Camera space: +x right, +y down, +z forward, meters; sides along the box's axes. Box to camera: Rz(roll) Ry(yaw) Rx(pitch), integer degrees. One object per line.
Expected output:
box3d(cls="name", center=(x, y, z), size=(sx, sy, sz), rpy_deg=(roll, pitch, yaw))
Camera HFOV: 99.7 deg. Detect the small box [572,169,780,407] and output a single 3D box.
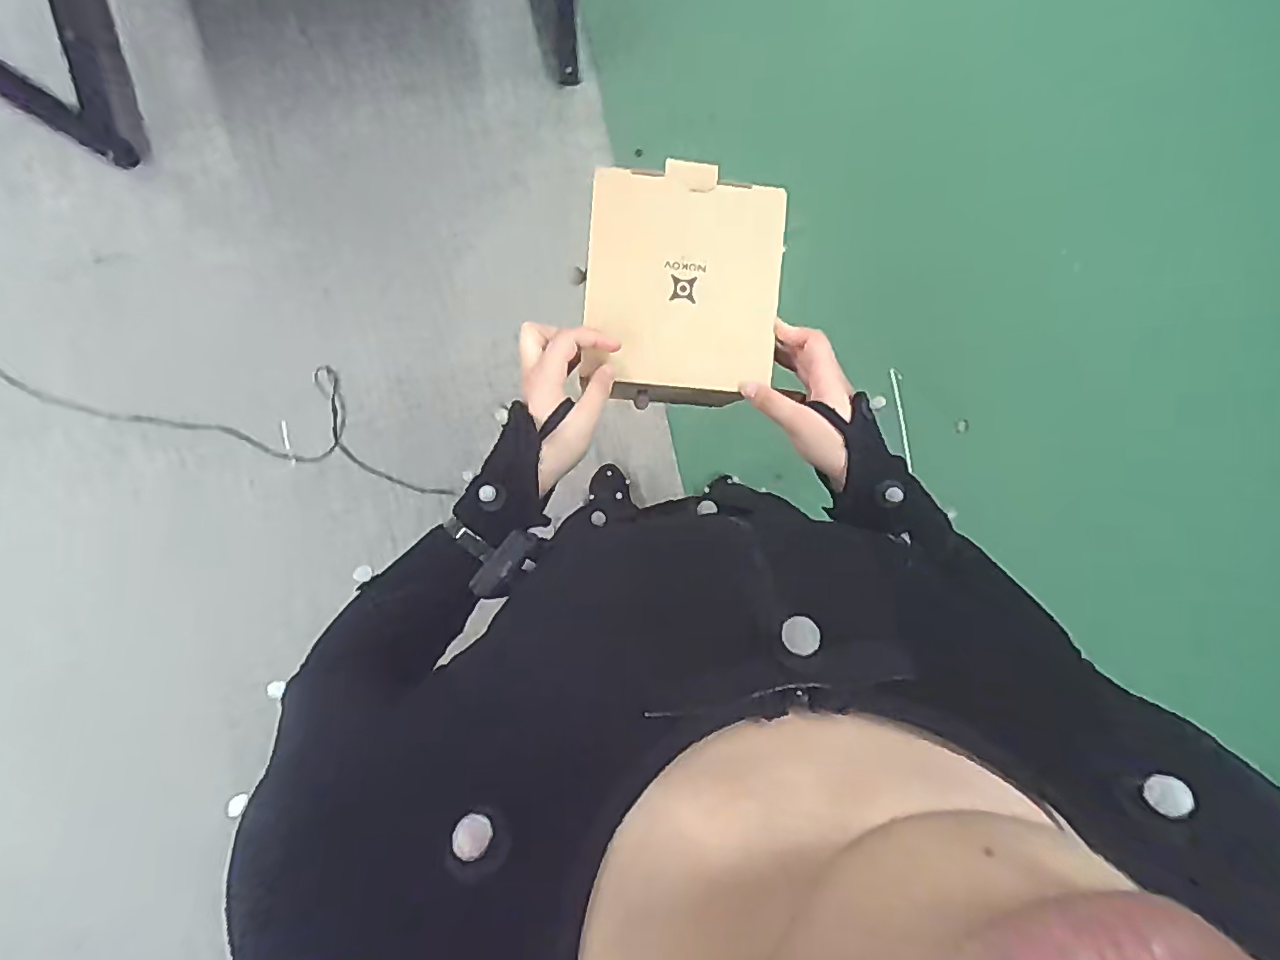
box3d(cls="small box", center=(0.025, -0.167, 0.529), size=(0.168, 0.176, 0.179), rpy_deg=(3, 93, -5))
